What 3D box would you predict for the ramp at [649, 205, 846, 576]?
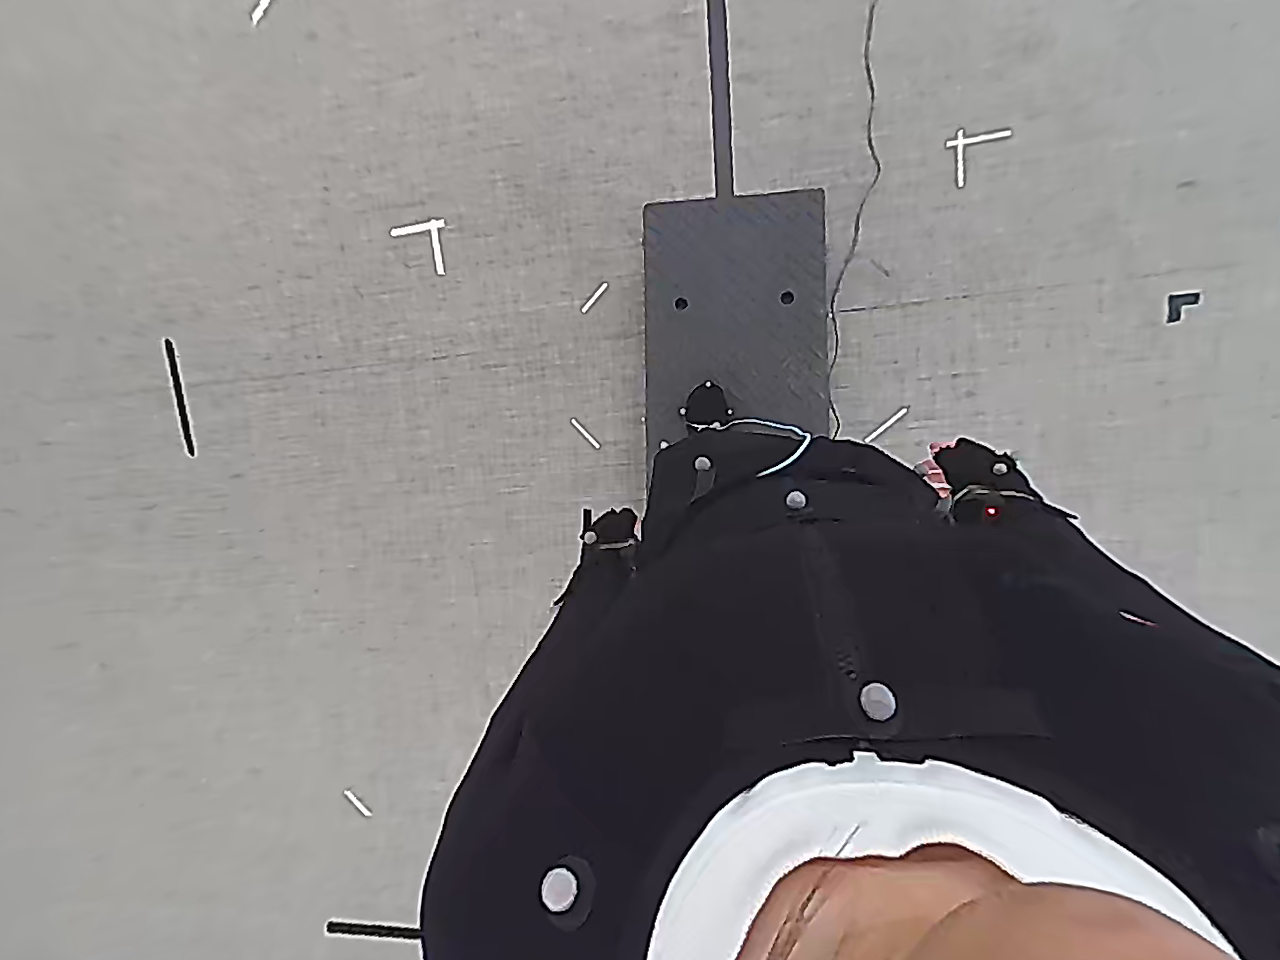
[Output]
[{"bbox_3d":[0.278,-0.244,1.477,0.509,0.206,0.991,-4,95,10],"label":"ramp"}]
